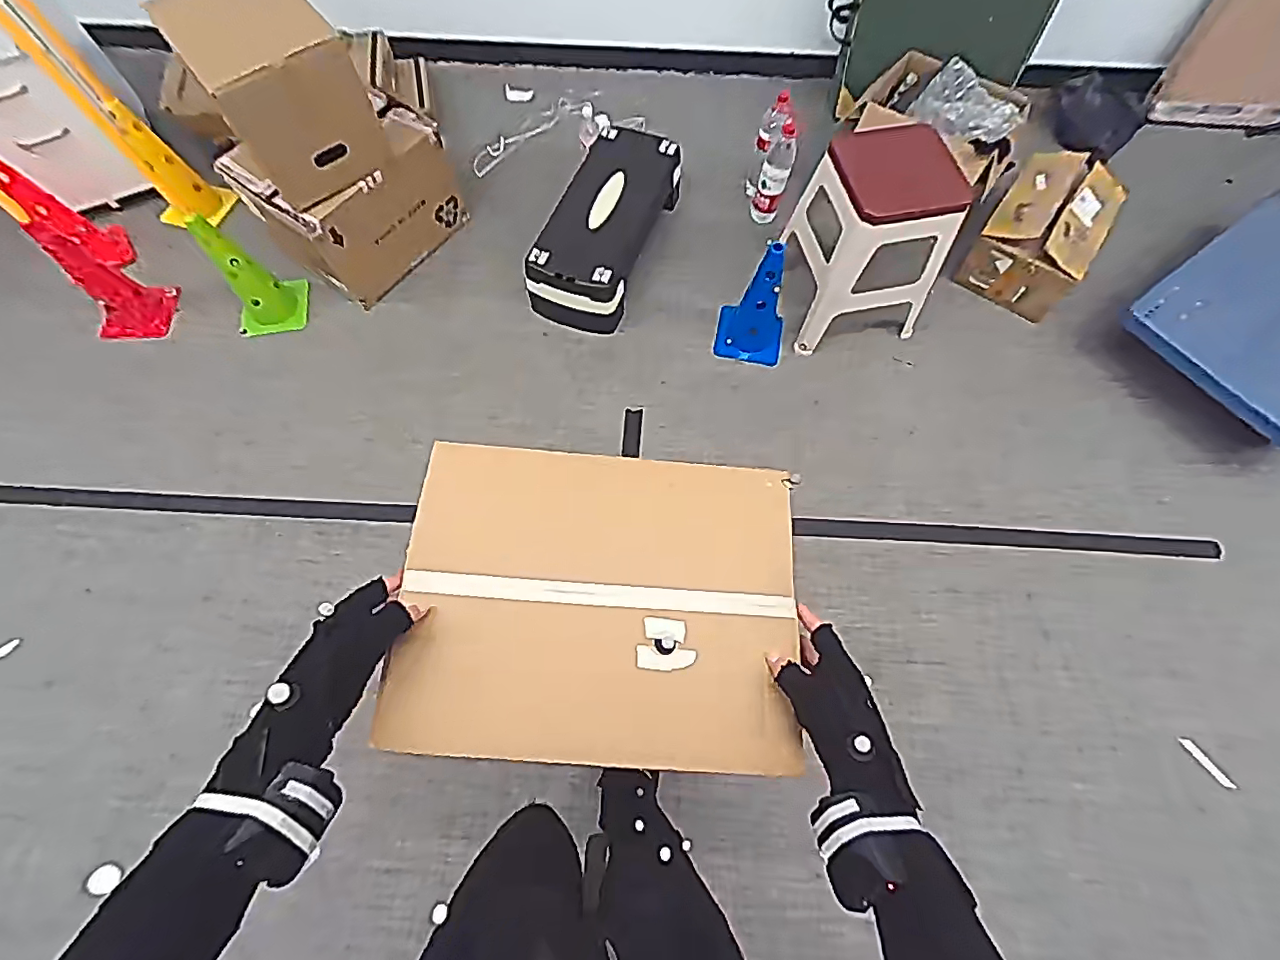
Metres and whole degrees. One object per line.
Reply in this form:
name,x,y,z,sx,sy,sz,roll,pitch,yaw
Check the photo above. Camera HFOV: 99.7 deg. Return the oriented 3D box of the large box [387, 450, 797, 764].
large box,-0.049,0.177,0.710,0.408,0.320,0.320,5,69,-3
